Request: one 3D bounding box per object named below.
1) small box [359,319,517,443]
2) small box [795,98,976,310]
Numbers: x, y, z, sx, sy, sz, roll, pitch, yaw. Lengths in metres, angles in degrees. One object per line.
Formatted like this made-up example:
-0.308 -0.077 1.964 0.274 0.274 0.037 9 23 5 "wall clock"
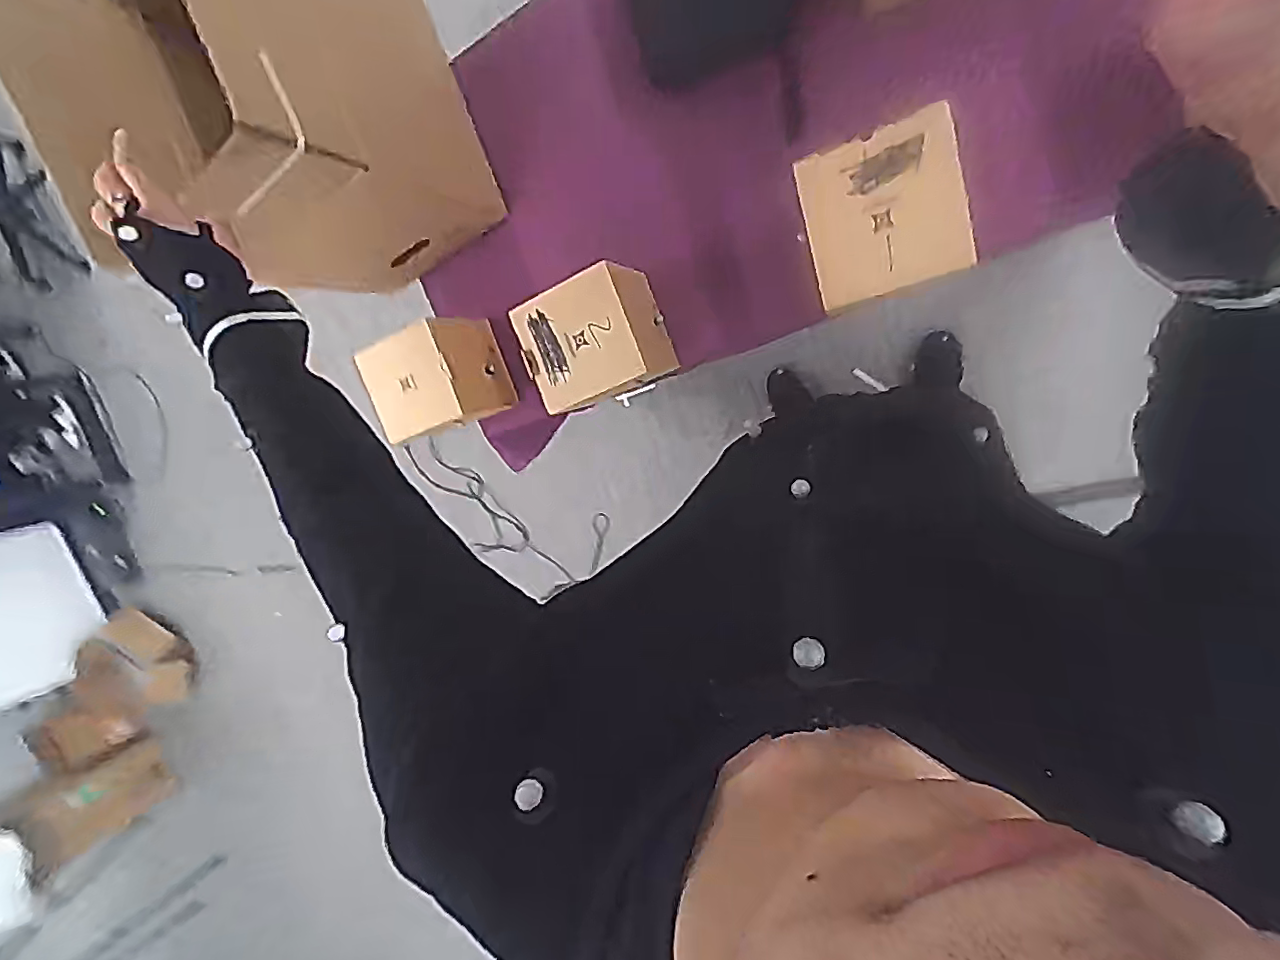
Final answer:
-0.357 -0.178 0.980 0.179 0.176 0.168 -18 97 23 "small box"
0.302 -0.326 0.685 0.168 0.176 0.179 -12 100 24 "small box"
